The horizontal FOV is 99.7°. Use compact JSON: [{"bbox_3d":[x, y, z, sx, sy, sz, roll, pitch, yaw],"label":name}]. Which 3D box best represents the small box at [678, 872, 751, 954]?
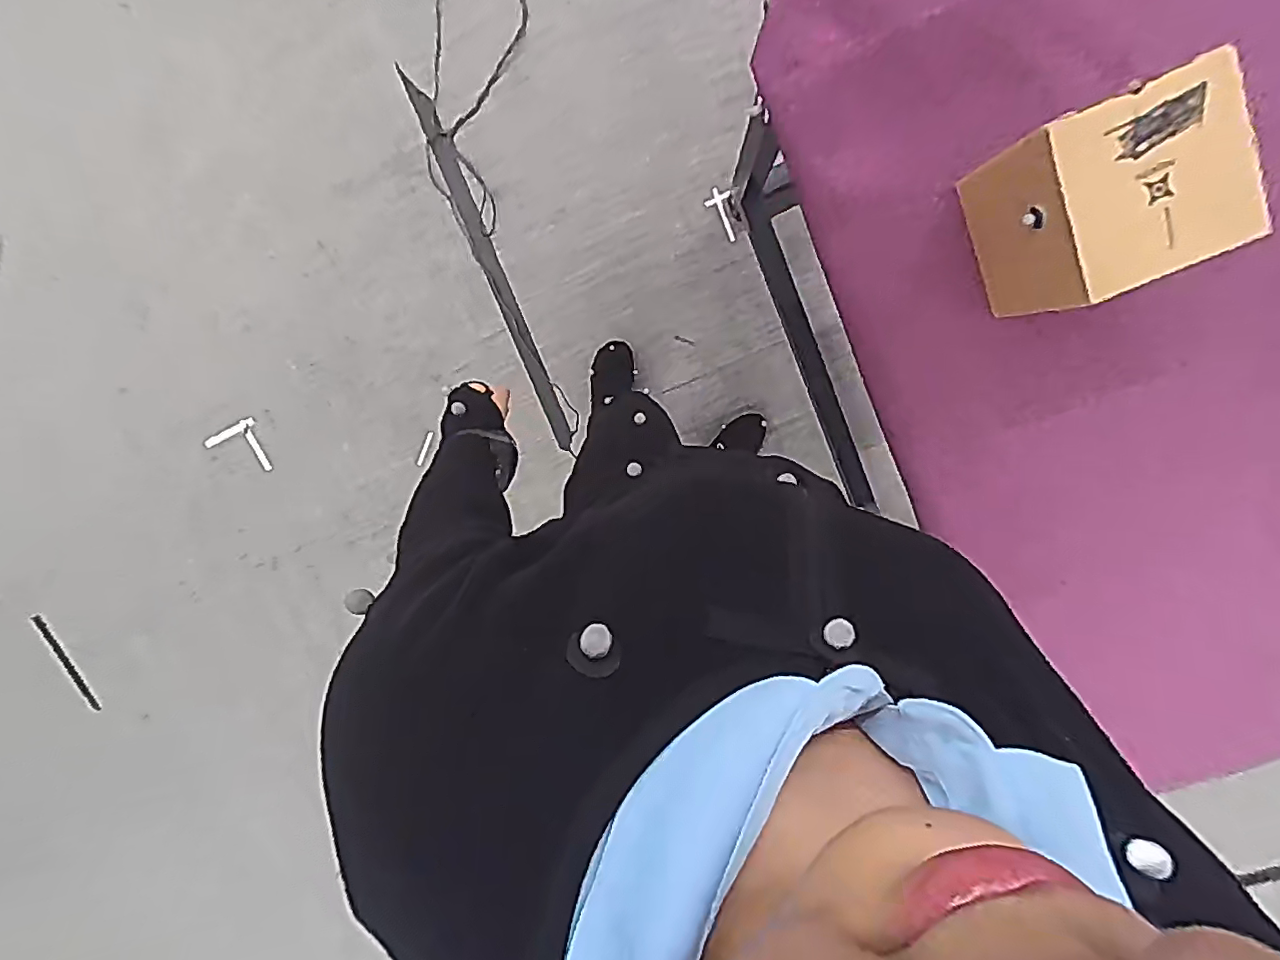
[{"bbox_3d":[0.220,1.336,1.639,0.168,0.176,0.179,-25,100,9],"label":"small box"}]

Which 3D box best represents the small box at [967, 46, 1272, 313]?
[{"bbox_3d":[0.492,-0.298,0.584,0.168,0.176,0.179,-22,100,9],"label":"small box"}]
